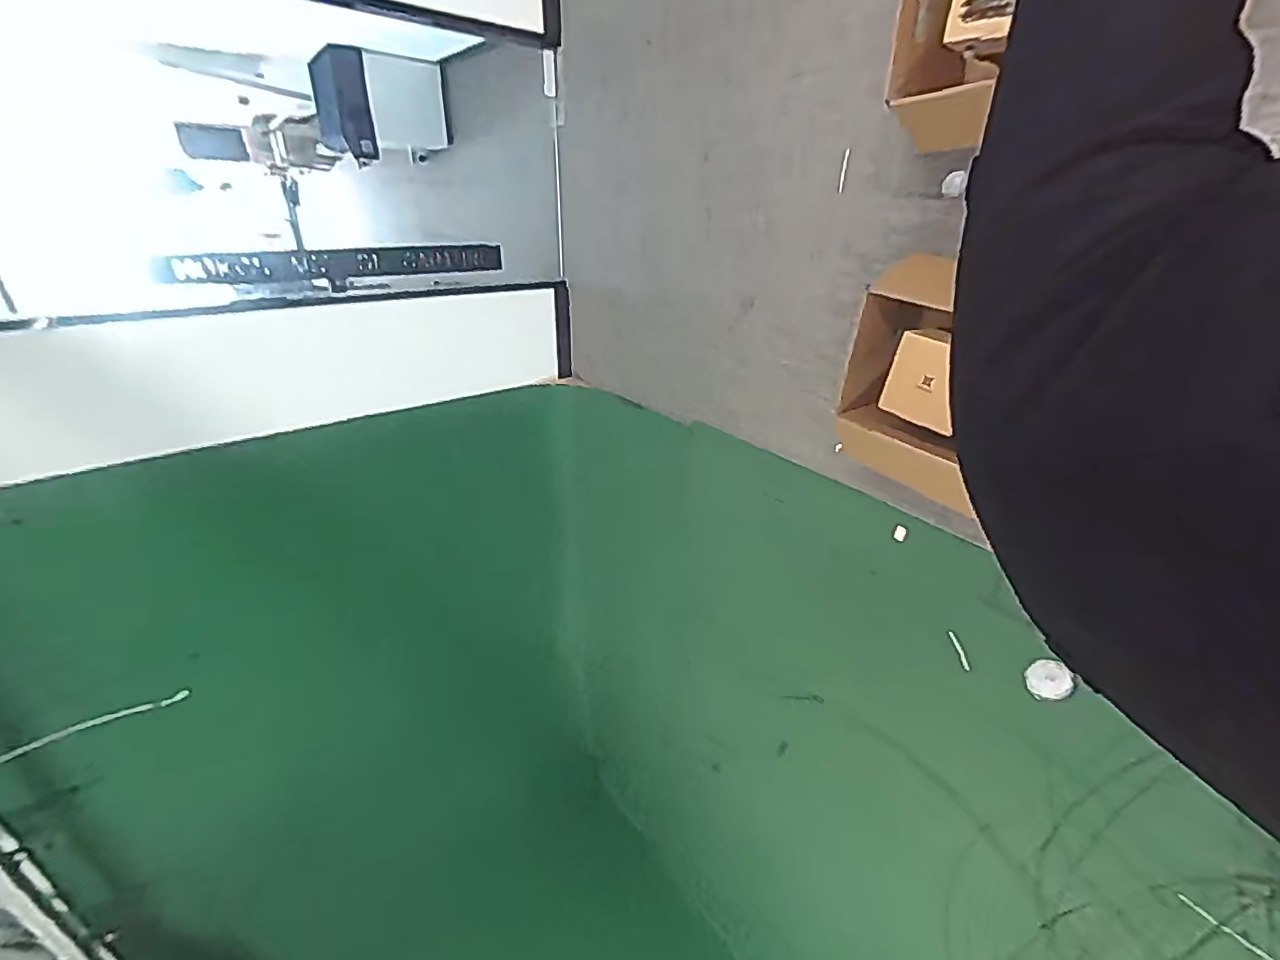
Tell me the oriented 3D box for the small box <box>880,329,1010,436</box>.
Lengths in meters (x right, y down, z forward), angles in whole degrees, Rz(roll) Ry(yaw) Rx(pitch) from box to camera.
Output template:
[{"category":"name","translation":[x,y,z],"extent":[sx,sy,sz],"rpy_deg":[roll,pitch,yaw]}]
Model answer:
[{"category":"small box","translation":[0.656,-0.218,1.161],"extent":[0.168,0.176,0.179],"rpy_deg":[35,130,40]}]
